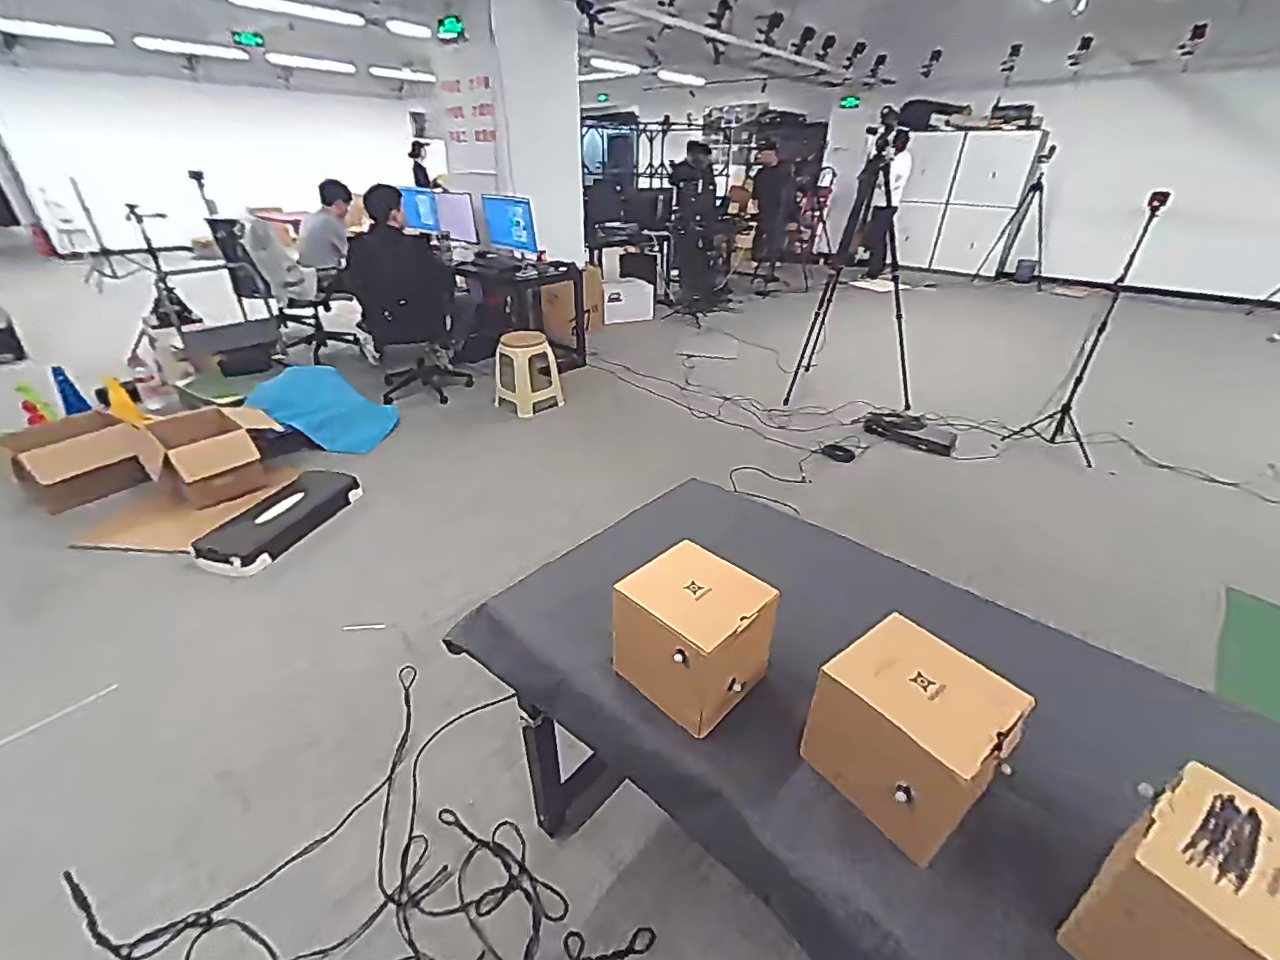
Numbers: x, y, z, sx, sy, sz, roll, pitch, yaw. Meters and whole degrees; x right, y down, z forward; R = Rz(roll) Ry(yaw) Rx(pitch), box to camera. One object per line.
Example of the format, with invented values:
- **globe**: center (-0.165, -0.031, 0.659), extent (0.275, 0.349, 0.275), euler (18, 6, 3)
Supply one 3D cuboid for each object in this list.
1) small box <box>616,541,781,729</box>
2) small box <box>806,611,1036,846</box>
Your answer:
- **small box**: center (0.079, 0.223, 0.799), extent (0.179, 0.176, 0.168), euler (26, 38, 36)
- **small box**: center (0.331, 0.303, 0.663), extent (0.168, 0.176, 0.179), euler (-19, 34, -33)
